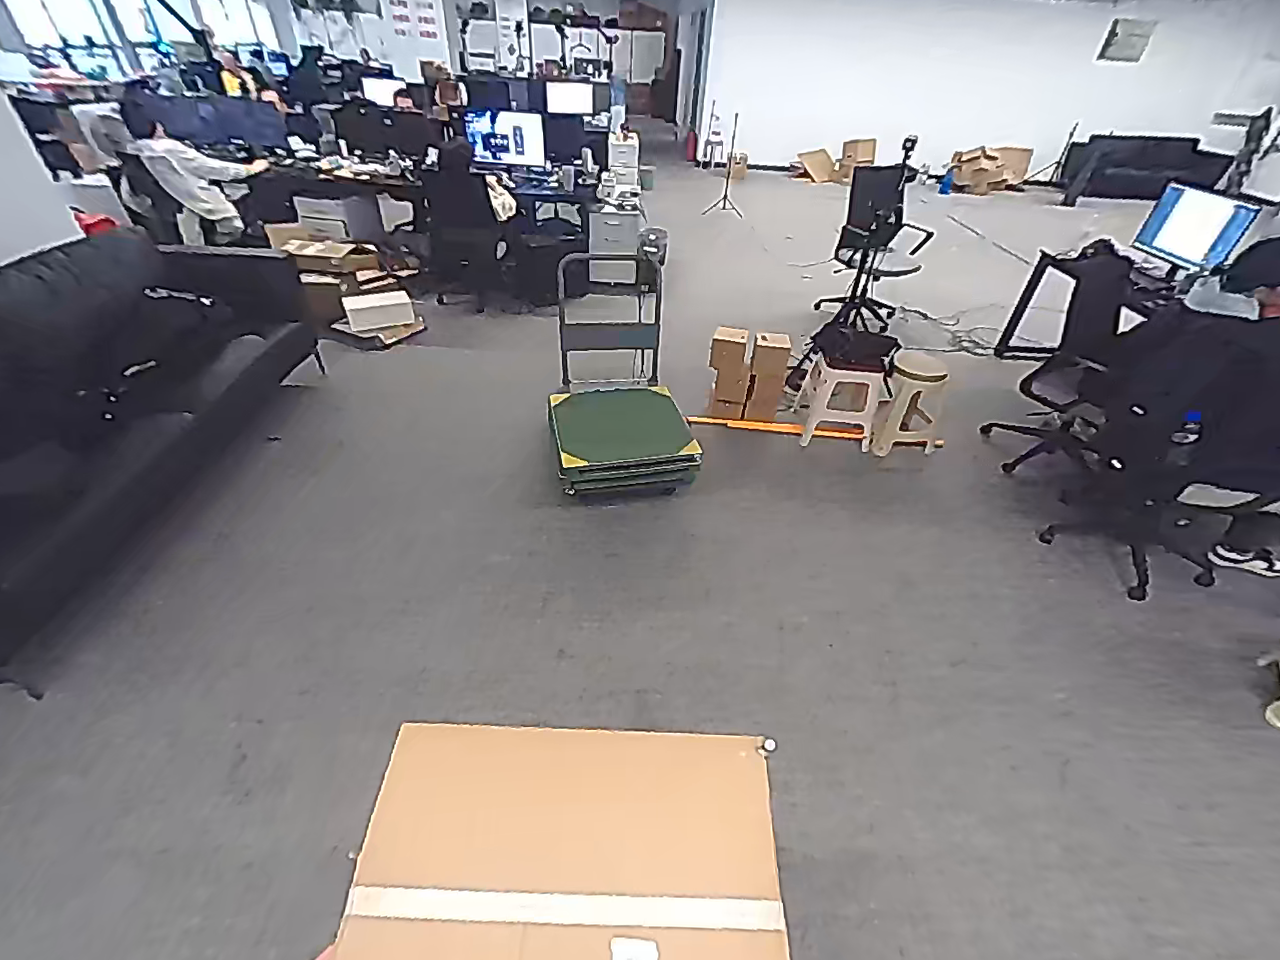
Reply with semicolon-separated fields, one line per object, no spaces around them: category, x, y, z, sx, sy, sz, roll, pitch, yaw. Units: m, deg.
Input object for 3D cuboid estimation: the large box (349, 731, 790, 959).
large box;-0.066;0.500;0.623;0.408;0.320;0.320;1;50;0
